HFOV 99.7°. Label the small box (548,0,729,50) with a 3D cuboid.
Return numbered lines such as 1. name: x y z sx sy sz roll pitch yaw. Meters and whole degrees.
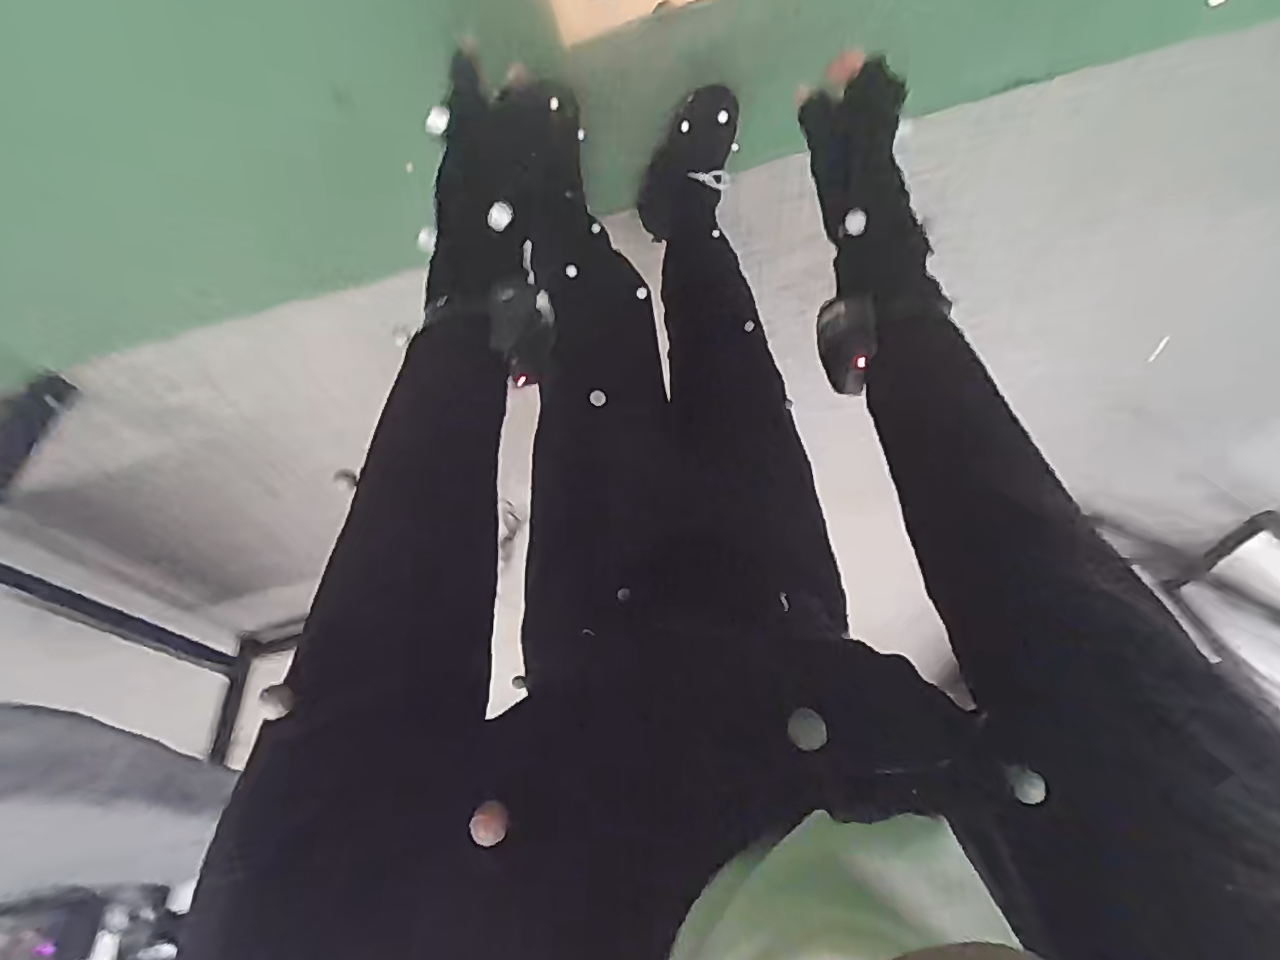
1. small box: -0.013 -0.472 0.404 0.168 0.176 0.179 -15 142 4
